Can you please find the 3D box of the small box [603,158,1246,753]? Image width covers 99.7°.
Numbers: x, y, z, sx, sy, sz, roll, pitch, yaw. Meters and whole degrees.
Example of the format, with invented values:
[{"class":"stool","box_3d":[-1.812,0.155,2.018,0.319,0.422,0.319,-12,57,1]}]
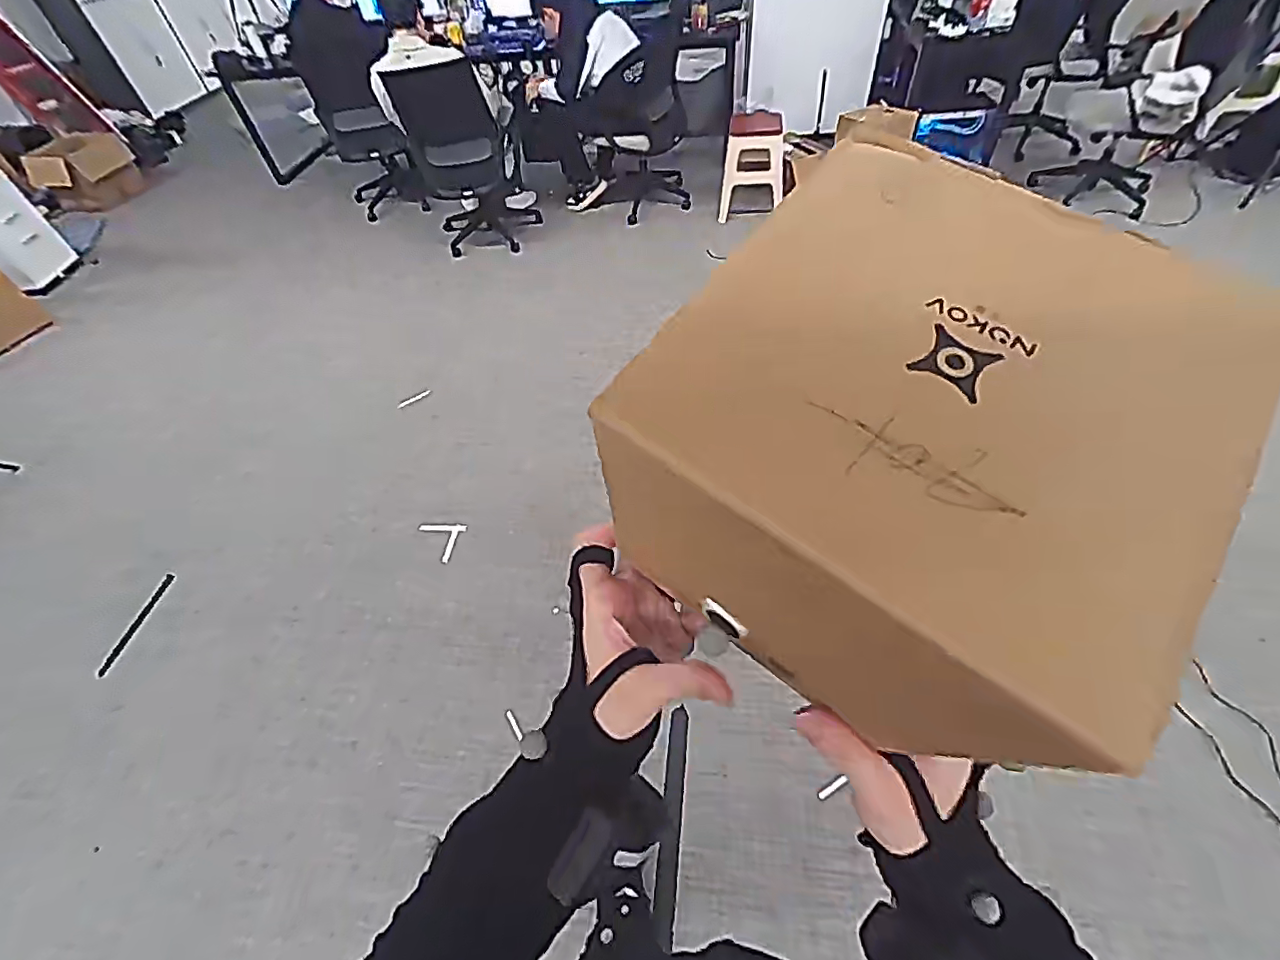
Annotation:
[{"class":"small box","box_3d":[0.102,-0.002,0.258,0.168,0.176,0.179,33,71,17]}]
